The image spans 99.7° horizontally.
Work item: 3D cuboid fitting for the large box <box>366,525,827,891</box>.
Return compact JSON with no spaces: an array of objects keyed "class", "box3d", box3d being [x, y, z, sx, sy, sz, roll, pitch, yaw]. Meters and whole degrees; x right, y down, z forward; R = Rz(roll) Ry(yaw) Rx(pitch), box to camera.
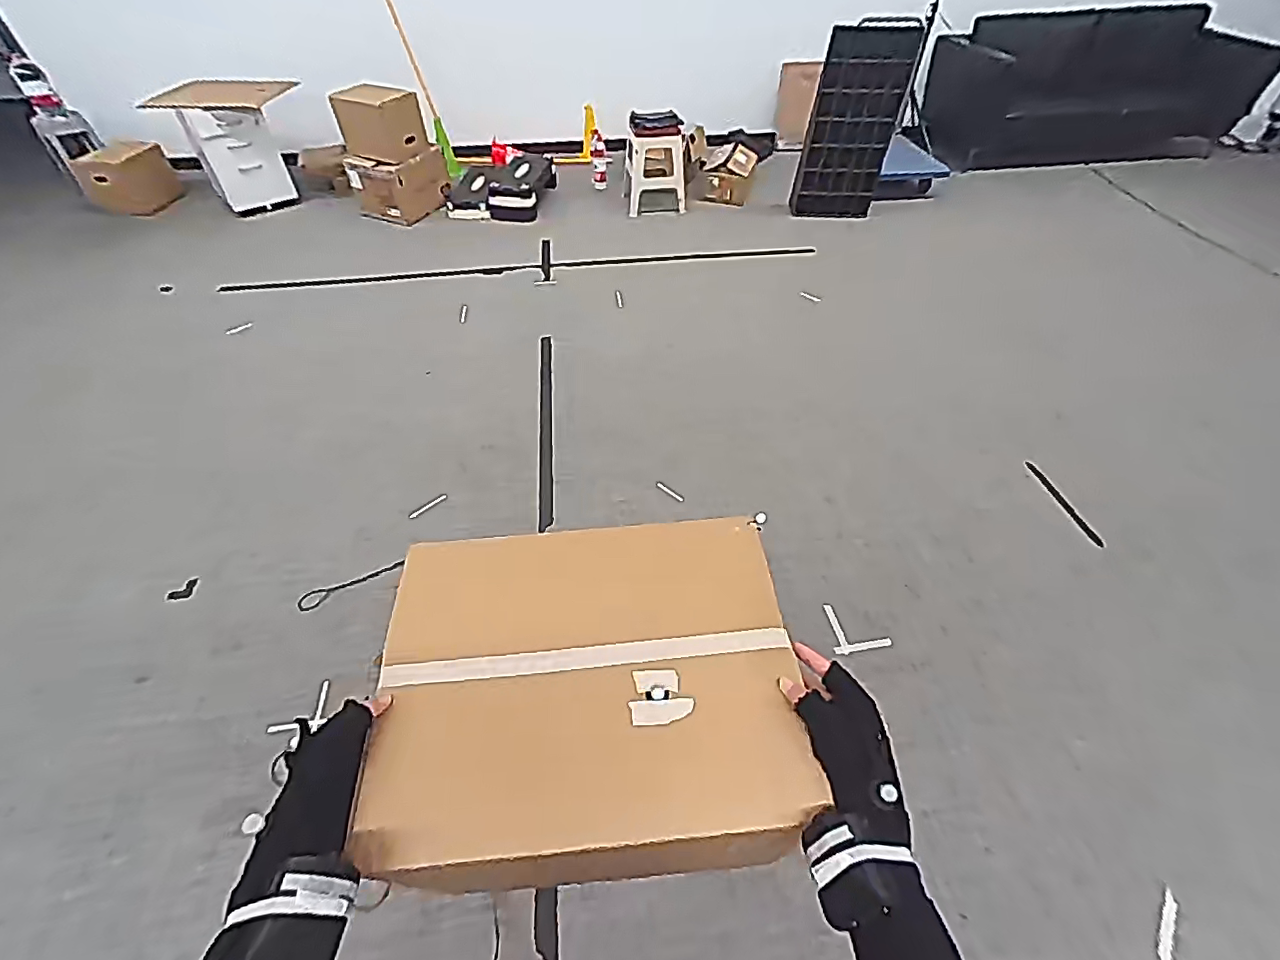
[{"class":"large box","box3d":[-0.046,0.283,0.666,0.408,0.320,0.320,-4,51,-2]}]
